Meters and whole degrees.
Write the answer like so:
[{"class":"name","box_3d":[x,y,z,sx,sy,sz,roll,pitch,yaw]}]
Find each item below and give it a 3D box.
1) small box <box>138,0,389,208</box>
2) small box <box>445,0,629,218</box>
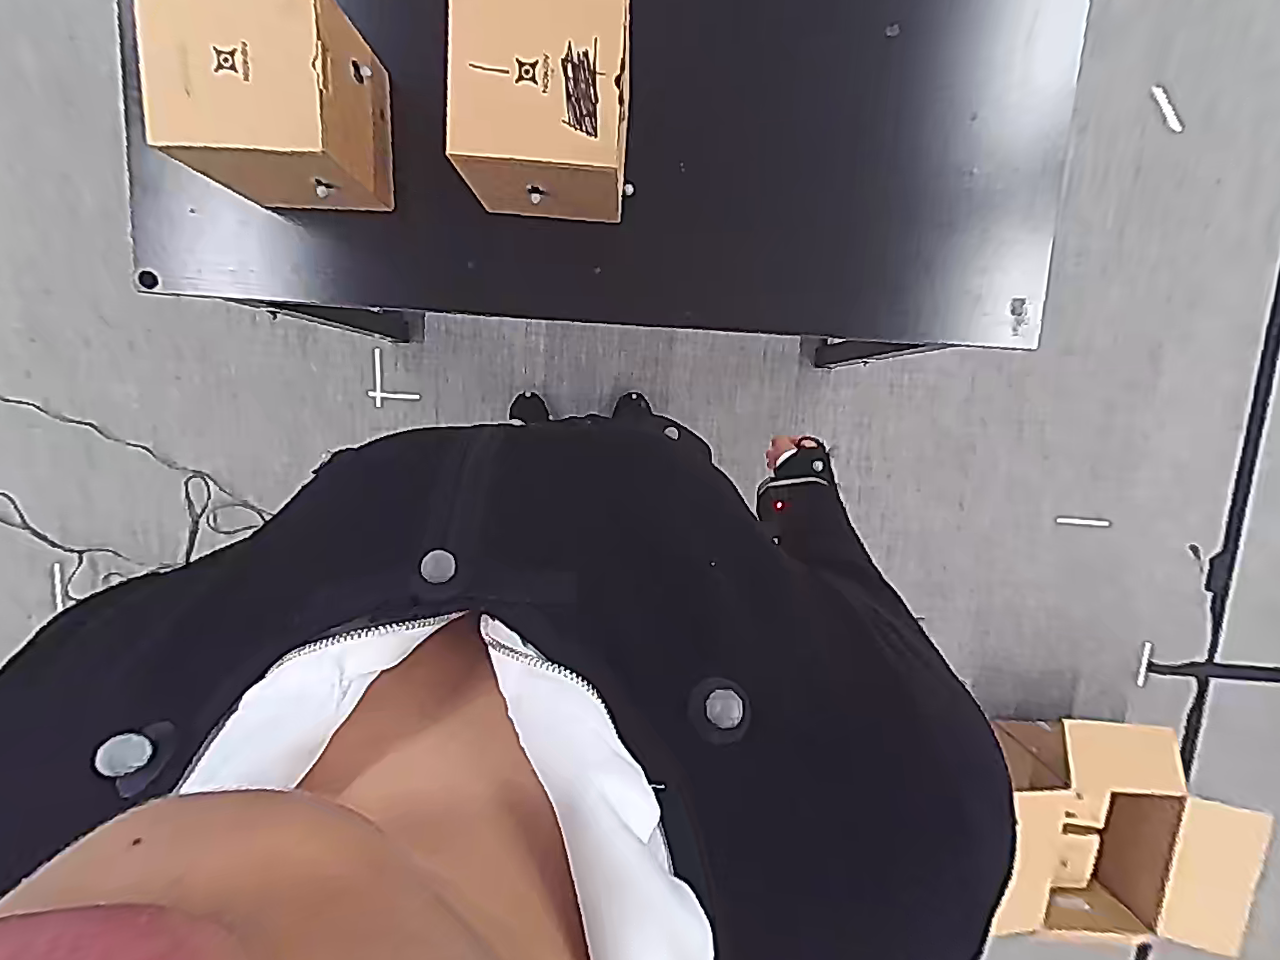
[{"class":"small box","box_3d":[-0.400,-0.423,0.609,0.179,0.176,0.168,1,97,-1]},{"class":"small box","box_3d":[-0.106,-0.415,0.617,0.179,0.176,0.168,4,98,-1]}]
